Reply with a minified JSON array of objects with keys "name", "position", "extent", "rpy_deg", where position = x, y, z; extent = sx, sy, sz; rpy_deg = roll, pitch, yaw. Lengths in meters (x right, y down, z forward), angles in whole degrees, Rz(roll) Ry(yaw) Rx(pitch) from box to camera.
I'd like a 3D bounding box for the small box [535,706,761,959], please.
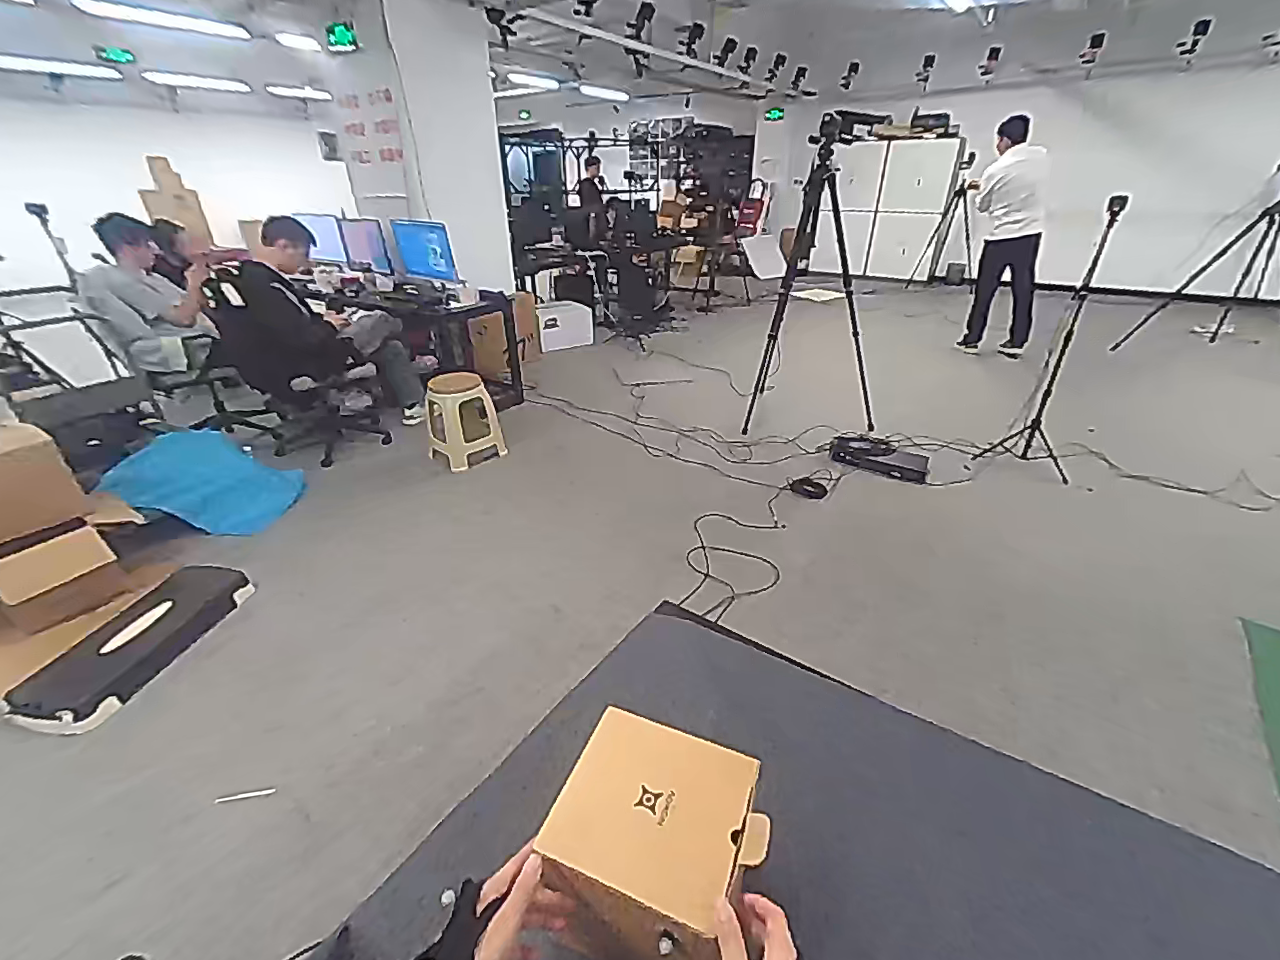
[{"name":"small box","position":[0.014,0.376,0.555],"extent":[0.179,0.176,0.168],"rpy_deg":[12,30,19]}]
